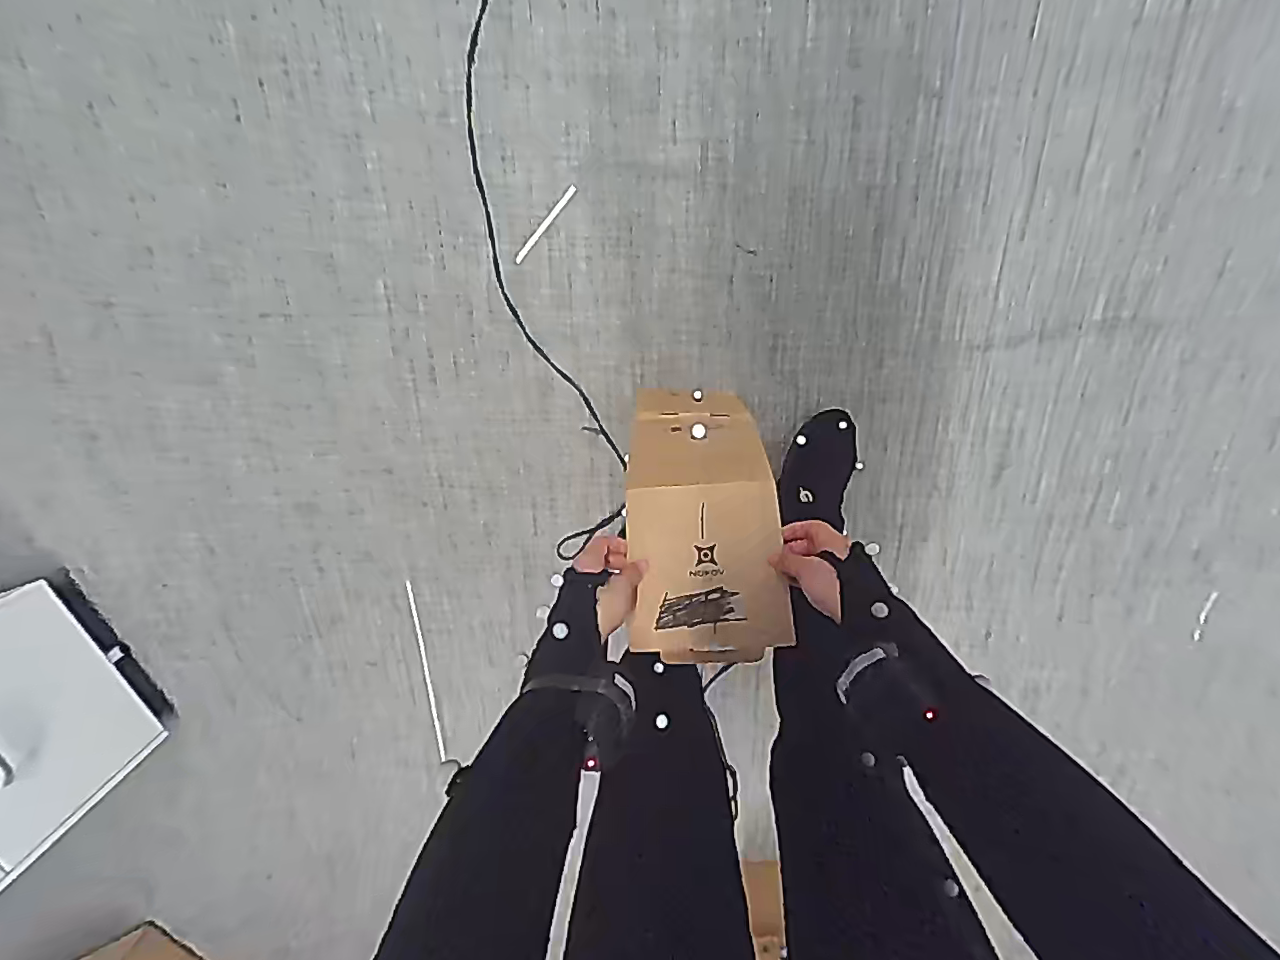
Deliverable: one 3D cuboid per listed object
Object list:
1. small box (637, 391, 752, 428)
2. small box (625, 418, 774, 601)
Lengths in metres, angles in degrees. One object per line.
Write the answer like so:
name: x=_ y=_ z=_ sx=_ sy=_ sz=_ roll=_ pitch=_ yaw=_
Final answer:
small box: x=0.079 y=-0.039 z=0.867 sx=0.168 sy=0.176 sz=0.179 roll=2 pitch=109 yaw=1
small box: x=0.074 y=0.035 z=0.700 sx=0.168 sy=0.176 sz=0.179 roll=-3 pitch=121 yaw=4
